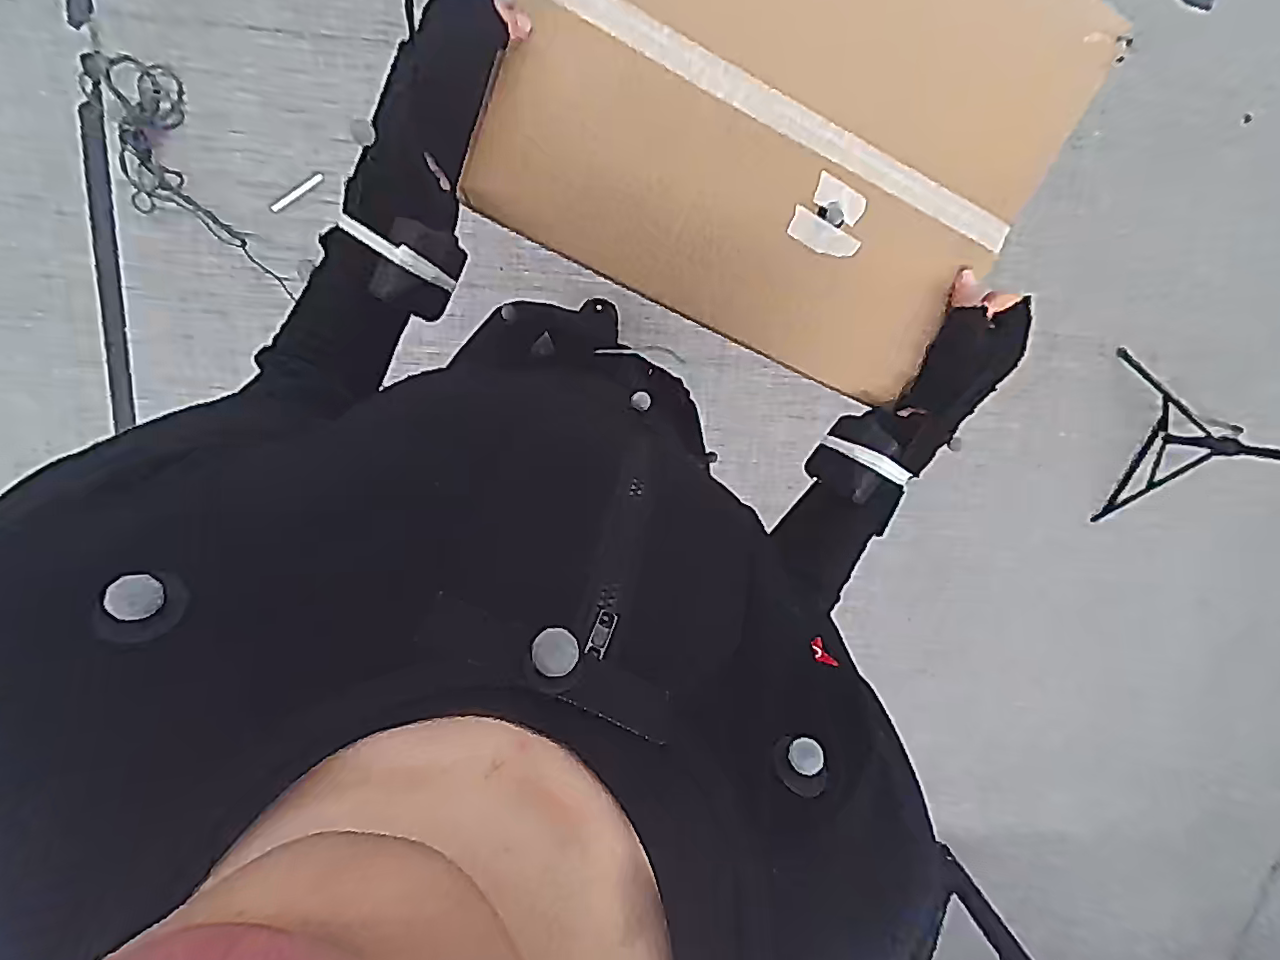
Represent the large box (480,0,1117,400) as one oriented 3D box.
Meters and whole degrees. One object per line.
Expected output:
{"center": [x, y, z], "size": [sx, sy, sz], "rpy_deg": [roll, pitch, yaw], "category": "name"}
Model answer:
{"center": [0.107, -0.327, 0.550], "size": [0.408, 0.320, 0.320], "rpy_deg": [24, 109, -11], "category": "large box"}
